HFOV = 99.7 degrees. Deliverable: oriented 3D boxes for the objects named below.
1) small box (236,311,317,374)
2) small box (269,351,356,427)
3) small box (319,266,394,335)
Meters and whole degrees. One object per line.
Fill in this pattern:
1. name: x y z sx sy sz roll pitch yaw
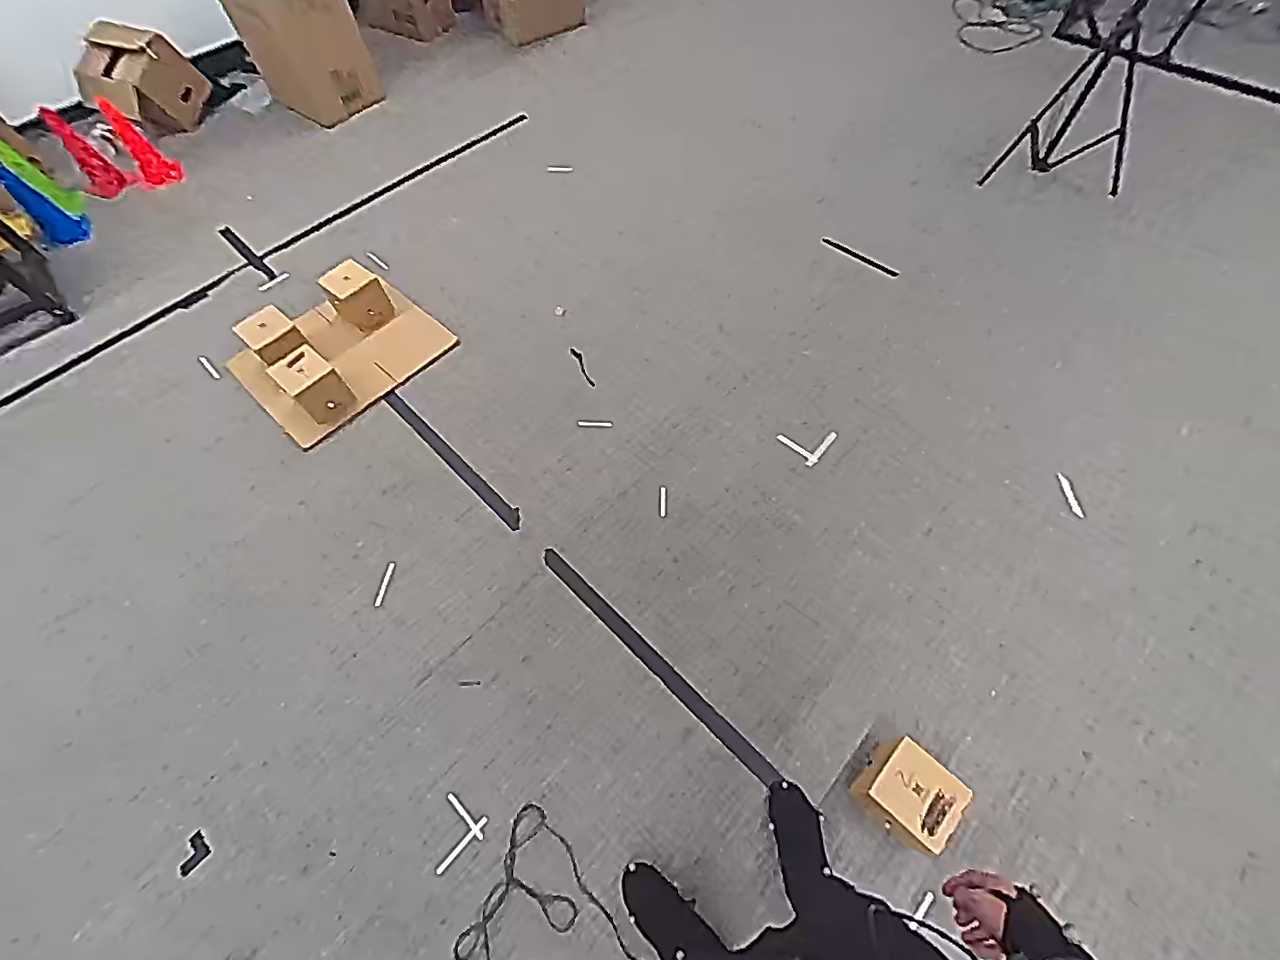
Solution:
1. small box: -1.369 -0.499 2.052 0.179 0.176 0.168 37 69 21
2. small box: -1.171 -0.324 1.945 0.179 0.176 0.168 37 69 20
3. small box: -1.135 -0.718 2.176 0.179 0.176 0.168 34 67 19
